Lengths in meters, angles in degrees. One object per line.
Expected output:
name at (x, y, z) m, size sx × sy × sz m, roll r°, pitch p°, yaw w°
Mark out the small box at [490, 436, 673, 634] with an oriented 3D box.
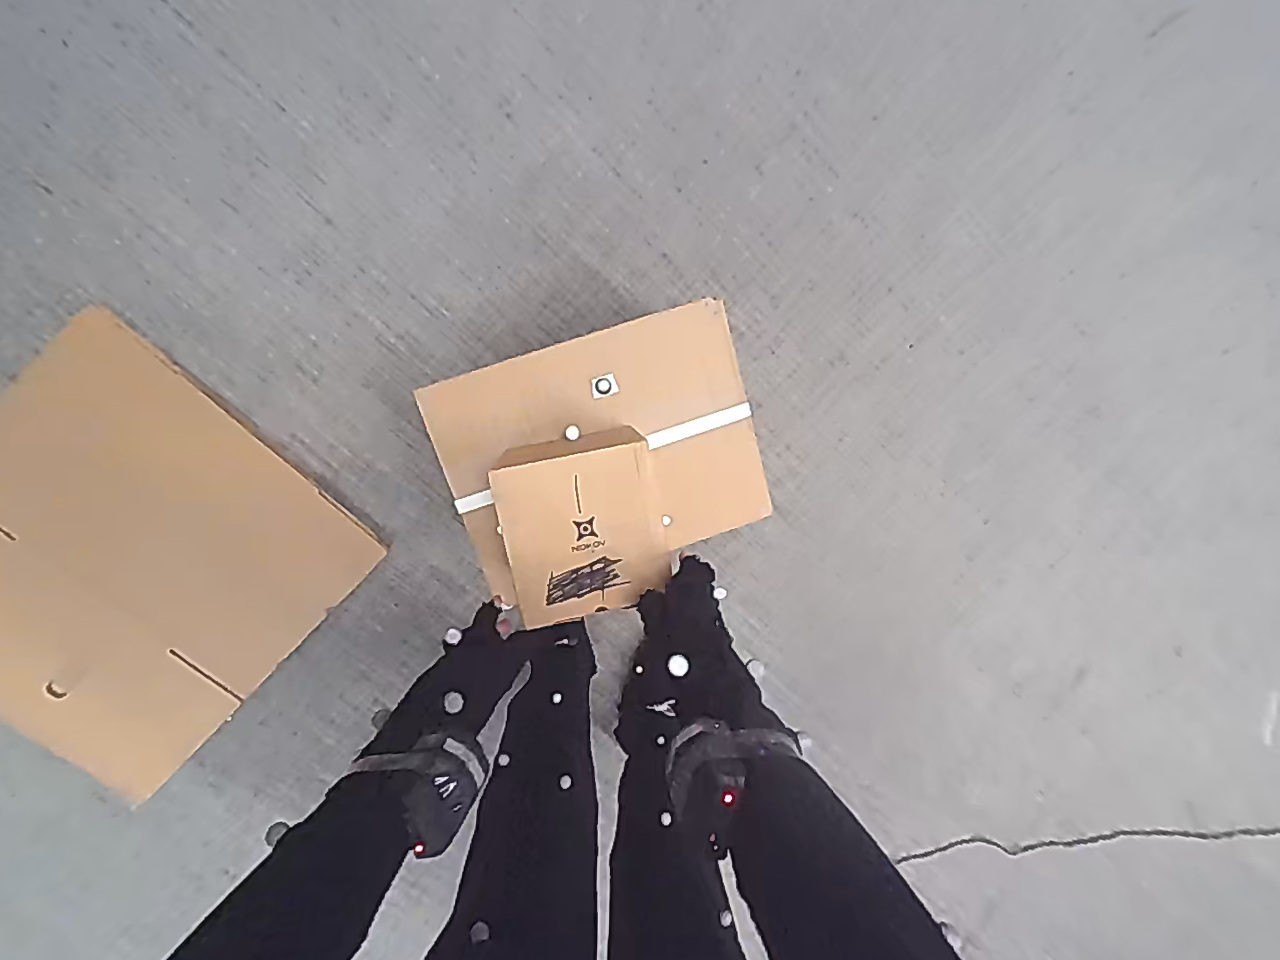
small box at (-0.066, 0.053, 0.641) m, size 0.168 × 0.176 × 0.179 m, roll -12°, pitch 100°, yaw -5°
